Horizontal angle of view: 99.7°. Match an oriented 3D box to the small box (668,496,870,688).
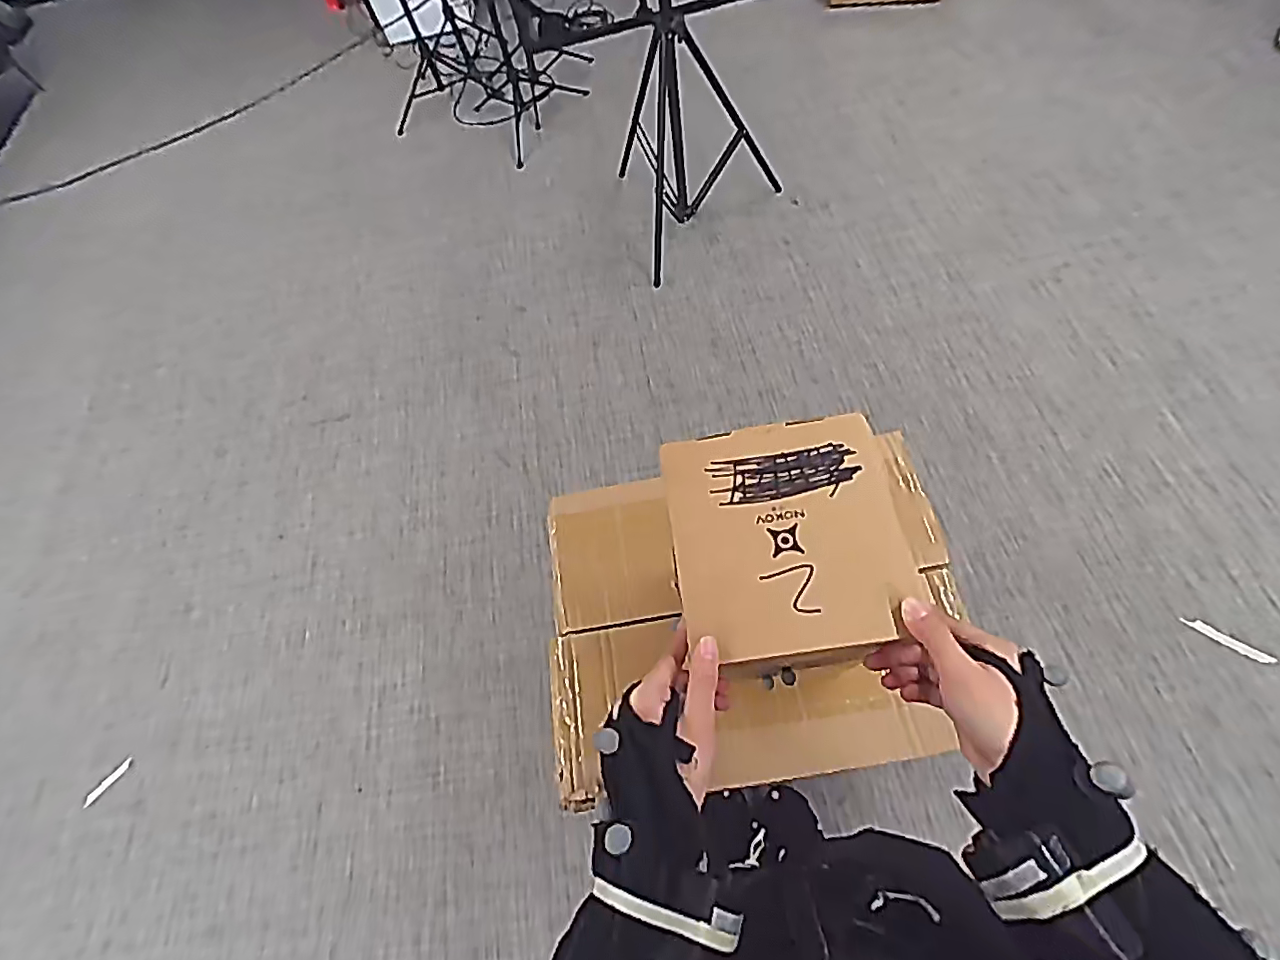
[{"bbox_3d":[0.136,0.137,0.620,0.179,0.176,0.168,-9,63,4],"label":"small box"}]
